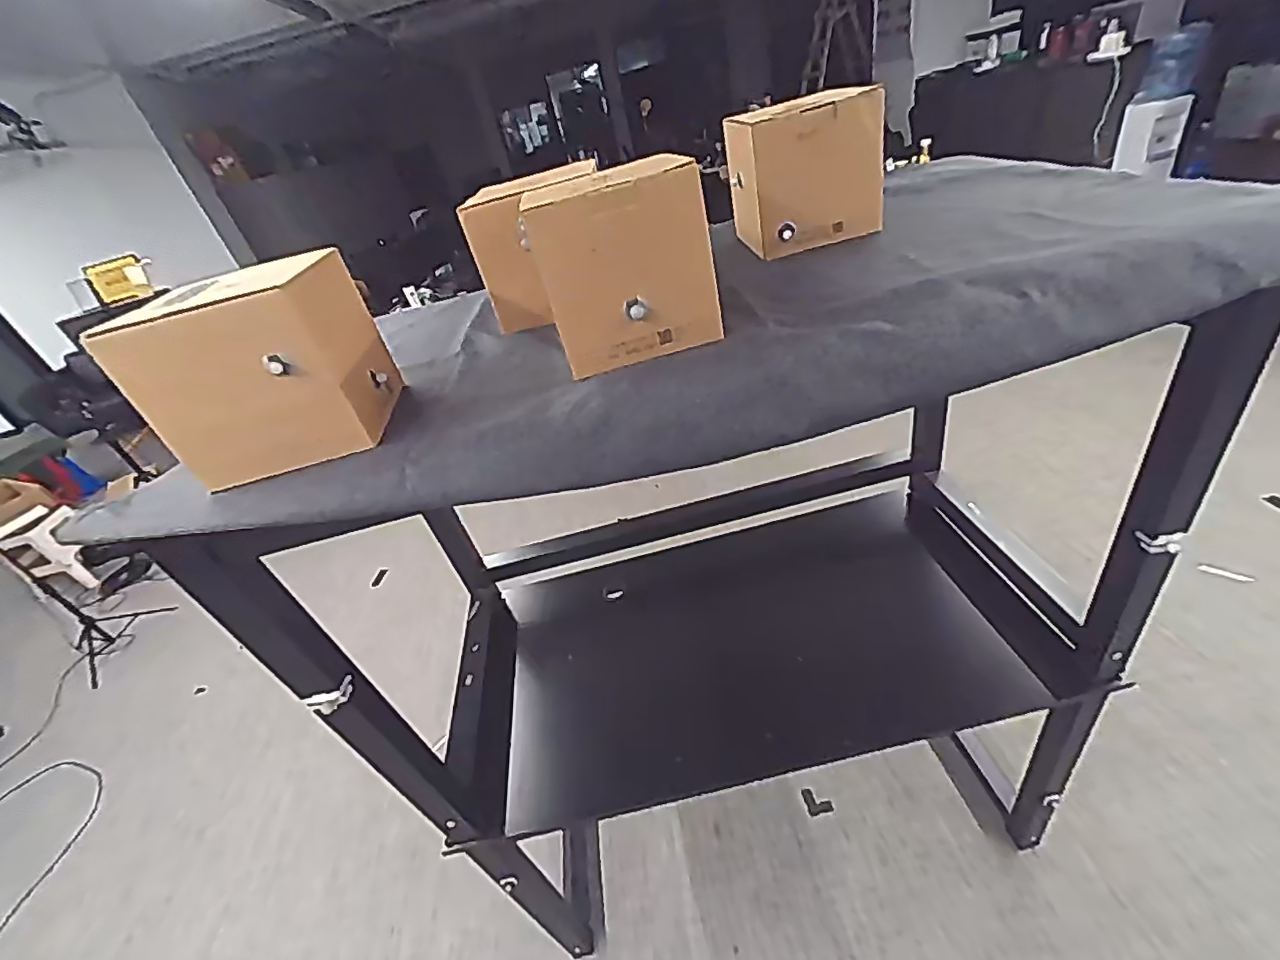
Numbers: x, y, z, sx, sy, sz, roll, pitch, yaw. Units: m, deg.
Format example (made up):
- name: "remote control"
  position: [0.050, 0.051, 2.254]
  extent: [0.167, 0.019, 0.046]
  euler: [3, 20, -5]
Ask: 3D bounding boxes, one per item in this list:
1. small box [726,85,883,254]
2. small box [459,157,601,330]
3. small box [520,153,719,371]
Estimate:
- name: "small box"
  position: [0.228, -0.435, 0.767]
  extent: [0.168, 0.176, 0.179]
  euler: [-13, 35, 4]
- name: "small box"
  position: [-0.124, -0.333, 0.763]
  extent: [0.179, 0.176, 0.168]
  euler: [-12, 35, 6]
- name: "small box"
  position: [-0.021, -0.239, 0.589]
  extent: [0.168, 0.176, 0.179]
  euler: [-15, 34, 0]
